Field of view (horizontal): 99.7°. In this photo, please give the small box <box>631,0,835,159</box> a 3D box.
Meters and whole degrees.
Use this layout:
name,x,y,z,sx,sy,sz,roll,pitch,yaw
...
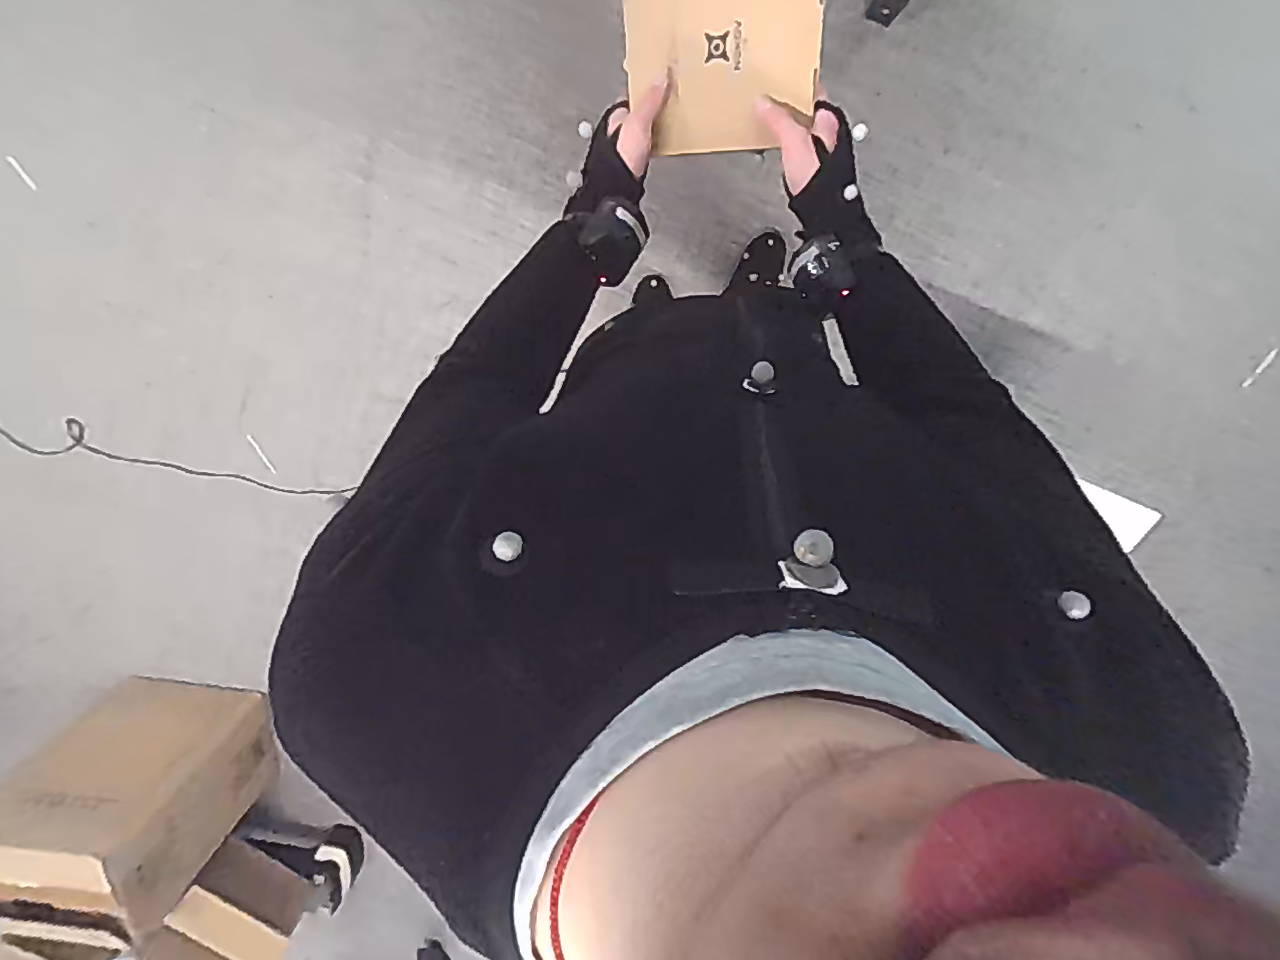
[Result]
name,x,y,z,sx,sy,sz,roll,pitch,yaw
small box,0.087,-0.428,0.546,0.179,0.176,0.168,-1,120,7
